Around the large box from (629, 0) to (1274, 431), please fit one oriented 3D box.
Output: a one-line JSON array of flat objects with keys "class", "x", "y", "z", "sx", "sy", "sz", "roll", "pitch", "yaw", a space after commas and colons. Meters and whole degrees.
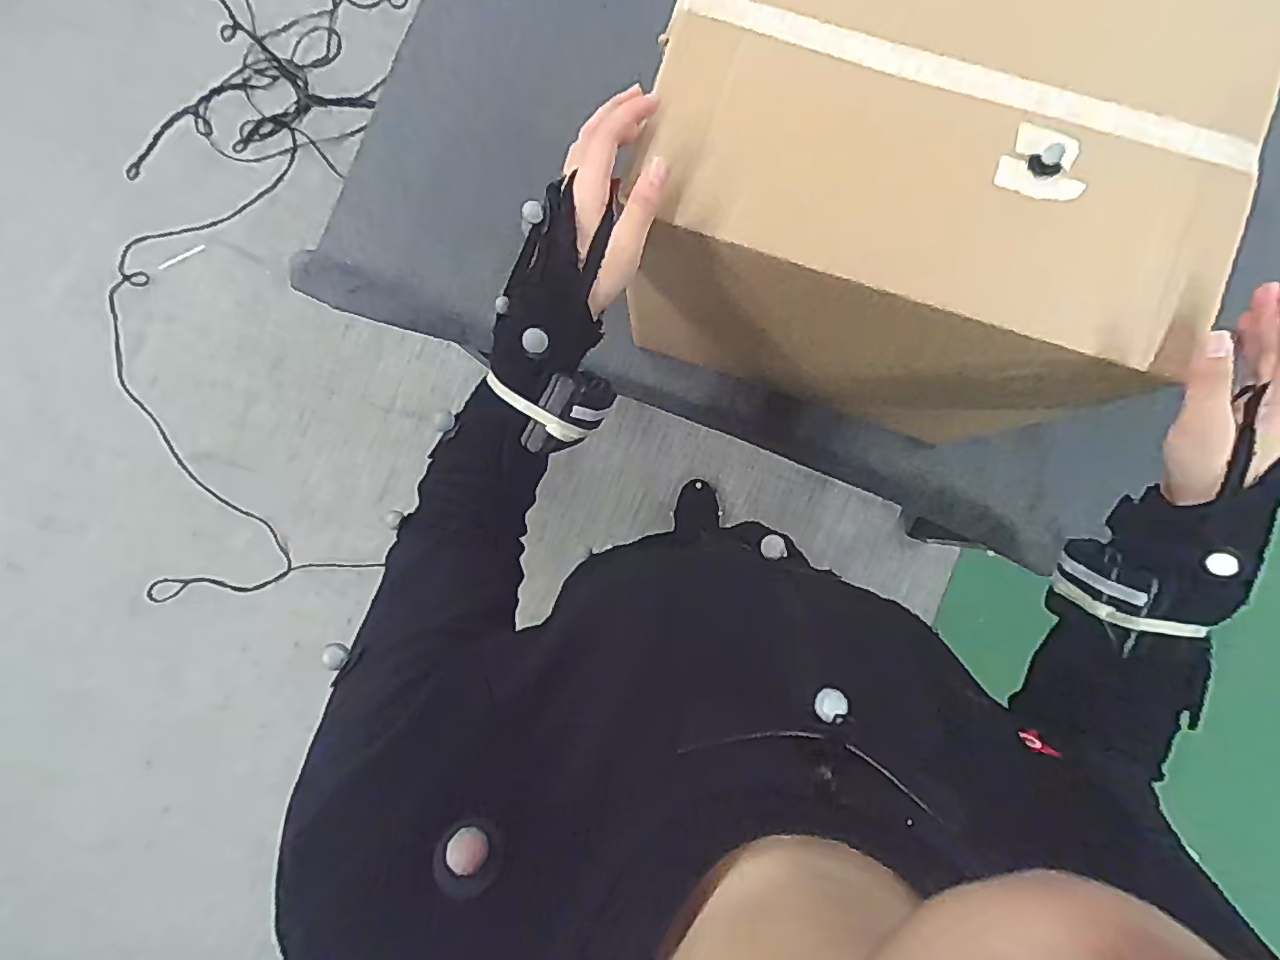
[{"class": "large box", "x": 0.224, "y": -0.271, "z": 0.532, "sx": 0.408, "sy": 0.320, "sz": 0.320, "roll": 19, "pitch": 87, "yaw": 2}]
